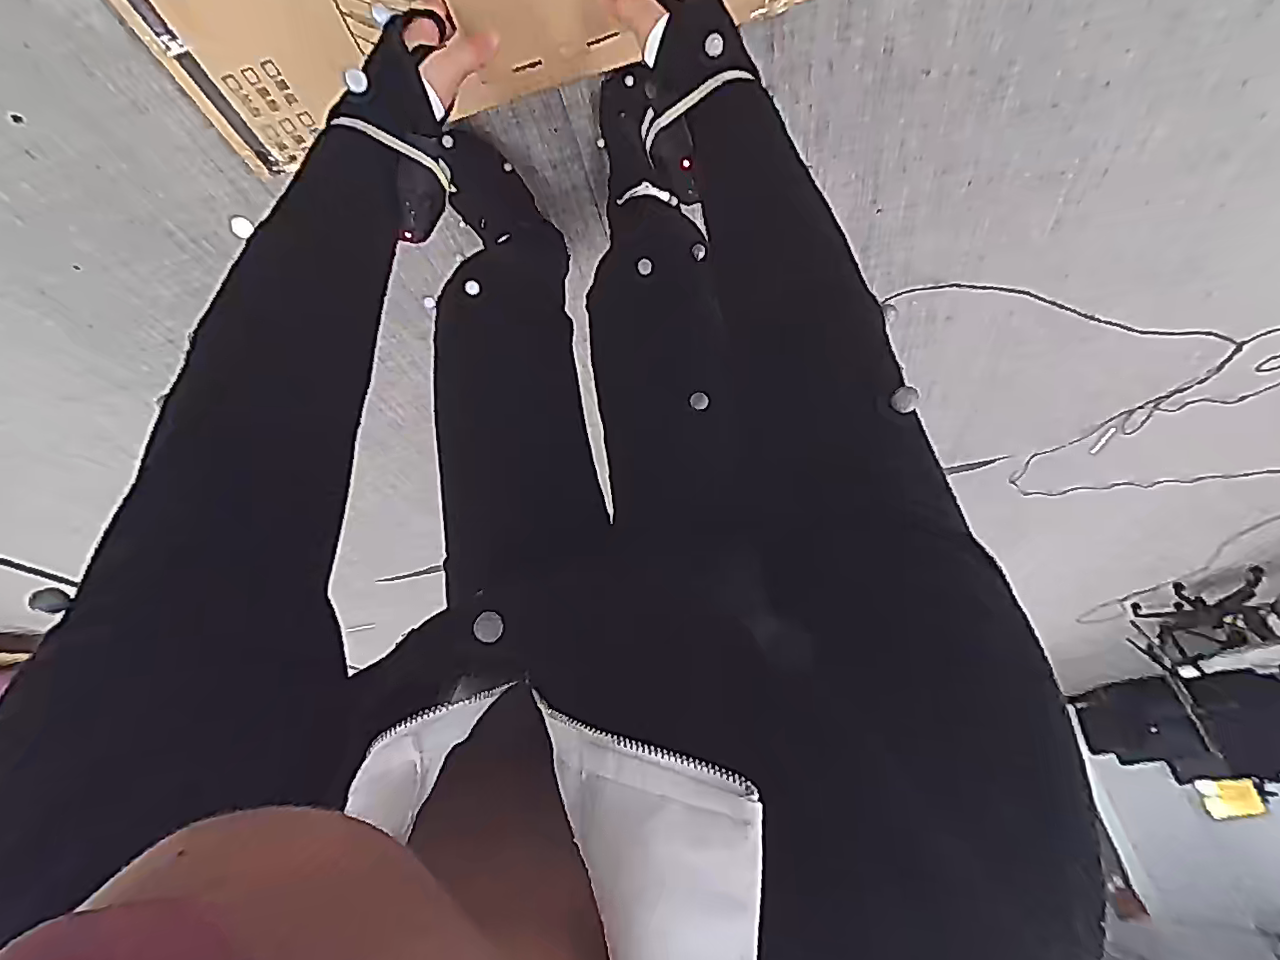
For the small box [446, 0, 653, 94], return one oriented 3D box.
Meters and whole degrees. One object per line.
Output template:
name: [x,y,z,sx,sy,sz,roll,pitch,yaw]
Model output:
small box: [-0.093,-0.486,0.465,0.168,0.176,0.179,-13,145,9]
